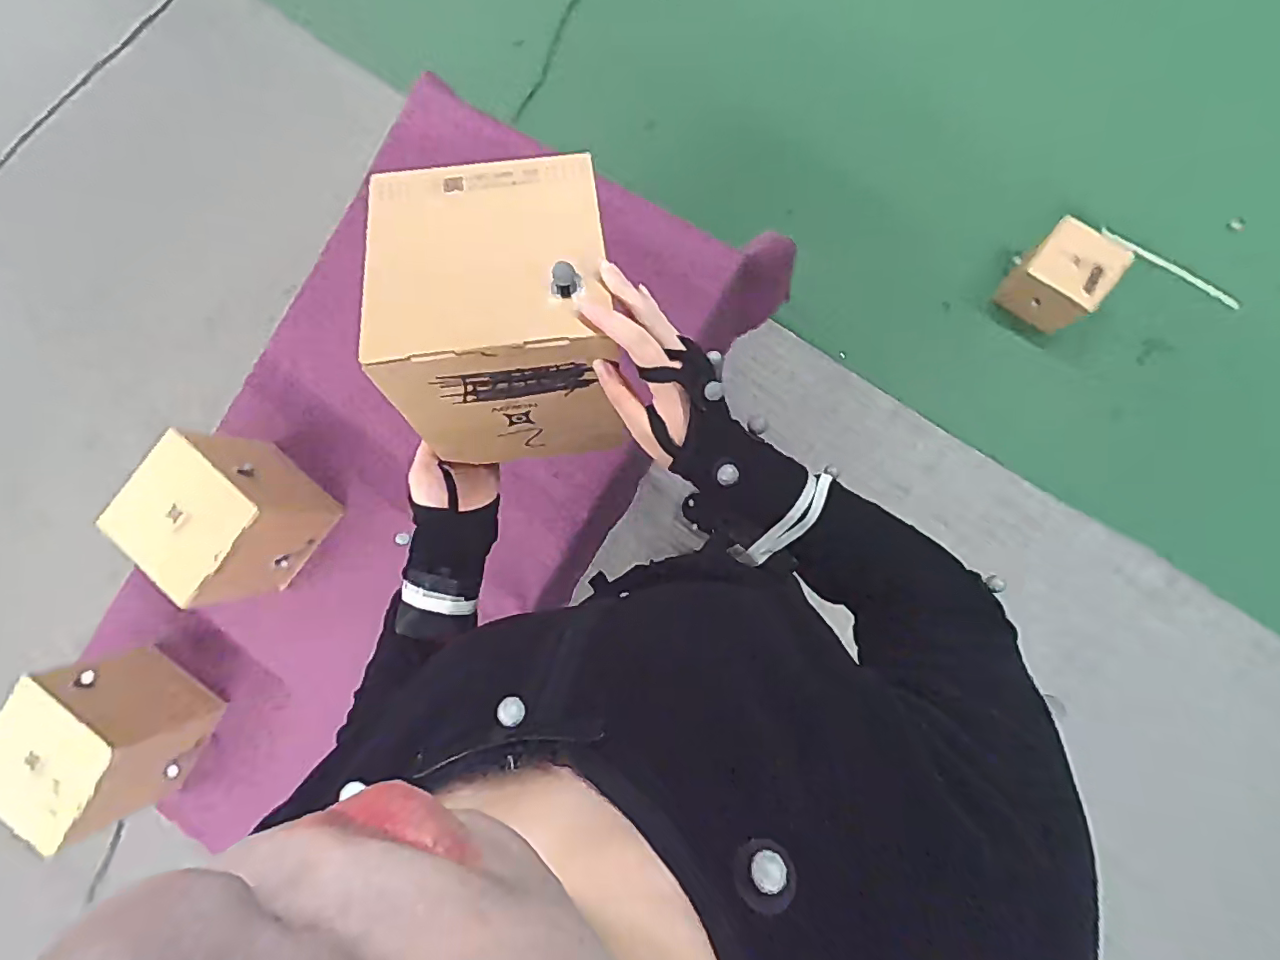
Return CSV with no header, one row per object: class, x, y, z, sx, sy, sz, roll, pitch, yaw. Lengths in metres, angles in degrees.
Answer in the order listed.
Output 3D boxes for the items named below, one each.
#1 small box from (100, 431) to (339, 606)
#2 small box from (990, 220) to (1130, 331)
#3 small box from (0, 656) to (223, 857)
small box,-0.592,0.055,0.783,0.179,0.176,0.168,39,92,7
small box,1.029,-0.494,1.342,0.179,0.176,0.168,37,91,9
small box,-0.771,0.377,0.781,0.179,0.176,0.168,32,91,8
